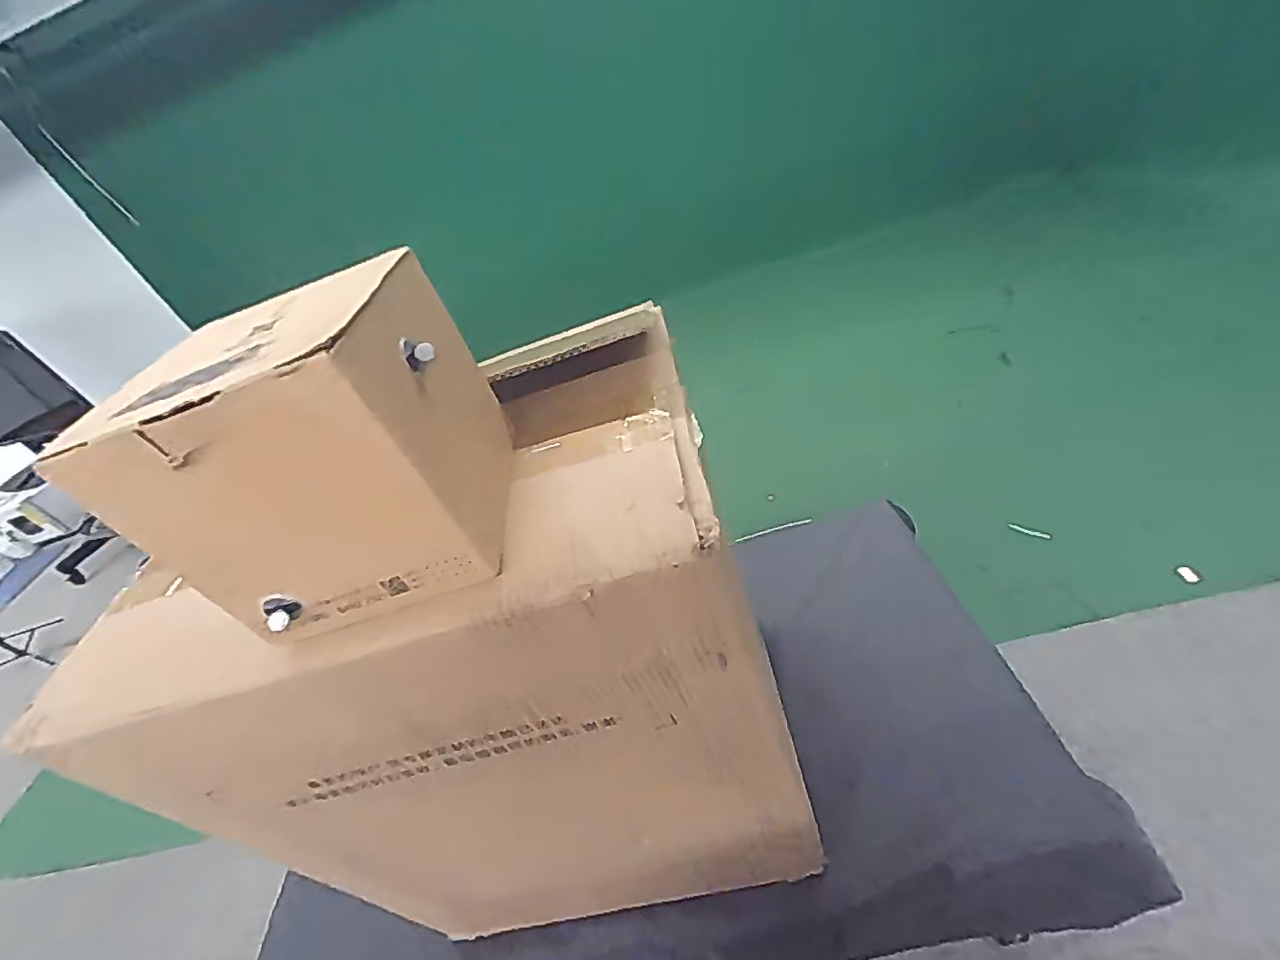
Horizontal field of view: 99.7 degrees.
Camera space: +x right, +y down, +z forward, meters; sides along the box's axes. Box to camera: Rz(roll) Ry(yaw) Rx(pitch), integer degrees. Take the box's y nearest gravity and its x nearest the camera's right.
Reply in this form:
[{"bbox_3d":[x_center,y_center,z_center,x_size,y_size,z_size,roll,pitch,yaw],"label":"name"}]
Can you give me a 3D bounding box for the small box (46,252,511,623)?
[{"bbox_3d":[-0.203,-0.024,0.372,0.168,0.176,0.179,-18,38,6],"label":"small box"}]
